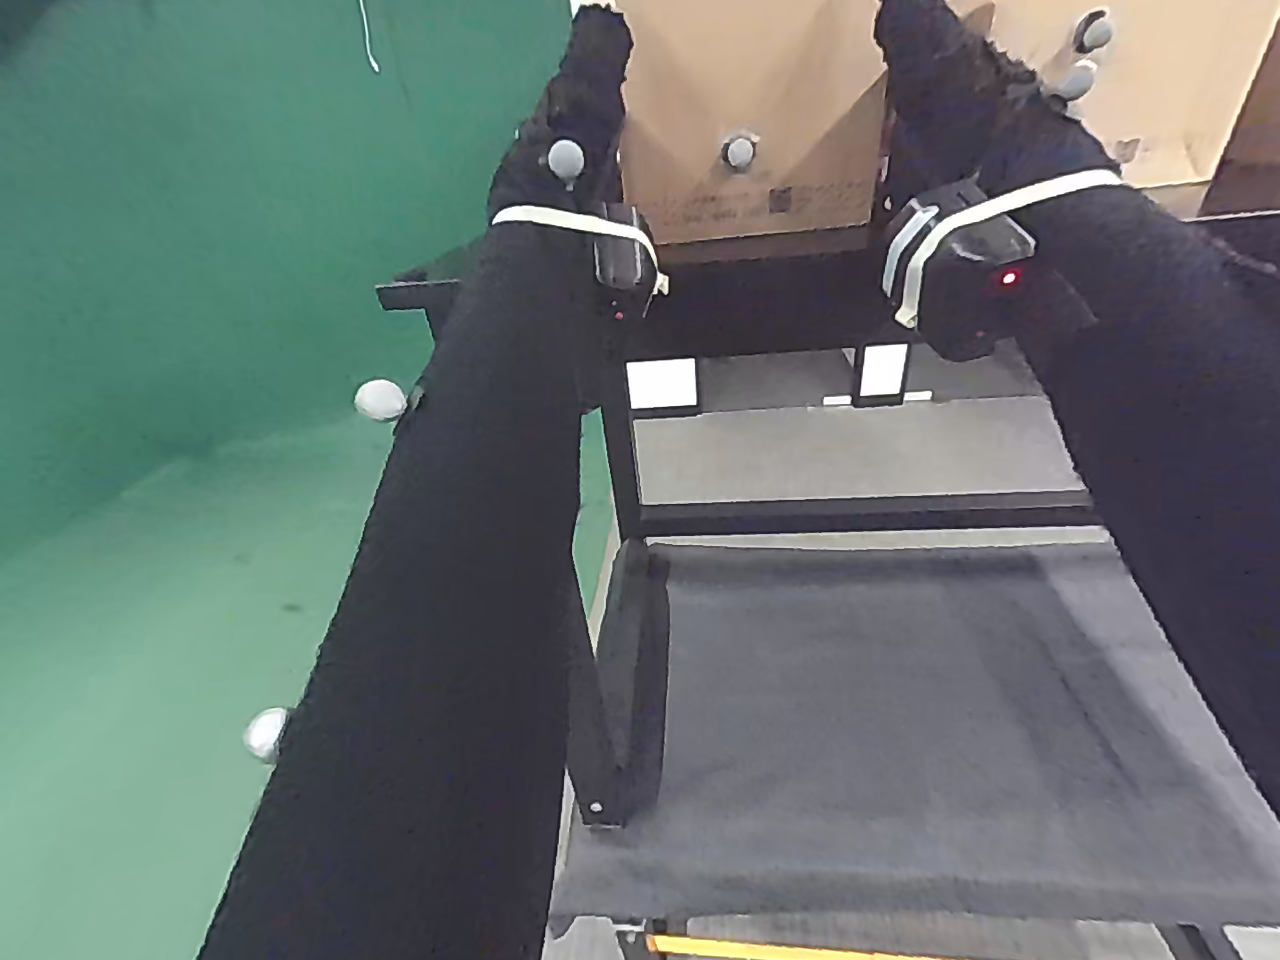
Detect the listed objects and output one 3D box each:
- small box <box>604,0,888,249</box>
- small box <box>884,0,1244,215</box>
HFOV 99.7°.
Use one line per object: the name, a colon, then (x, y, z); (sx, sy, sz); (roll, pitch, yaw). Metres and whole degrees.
small box: (0.066, -0.277, 0.405); (0.168, 0.176, 0.179); (-4, 33, 5)
small box: (0.303, -0.309, 0.417); (0.168, 0.176, 0.179); (-2, 32, 8)
